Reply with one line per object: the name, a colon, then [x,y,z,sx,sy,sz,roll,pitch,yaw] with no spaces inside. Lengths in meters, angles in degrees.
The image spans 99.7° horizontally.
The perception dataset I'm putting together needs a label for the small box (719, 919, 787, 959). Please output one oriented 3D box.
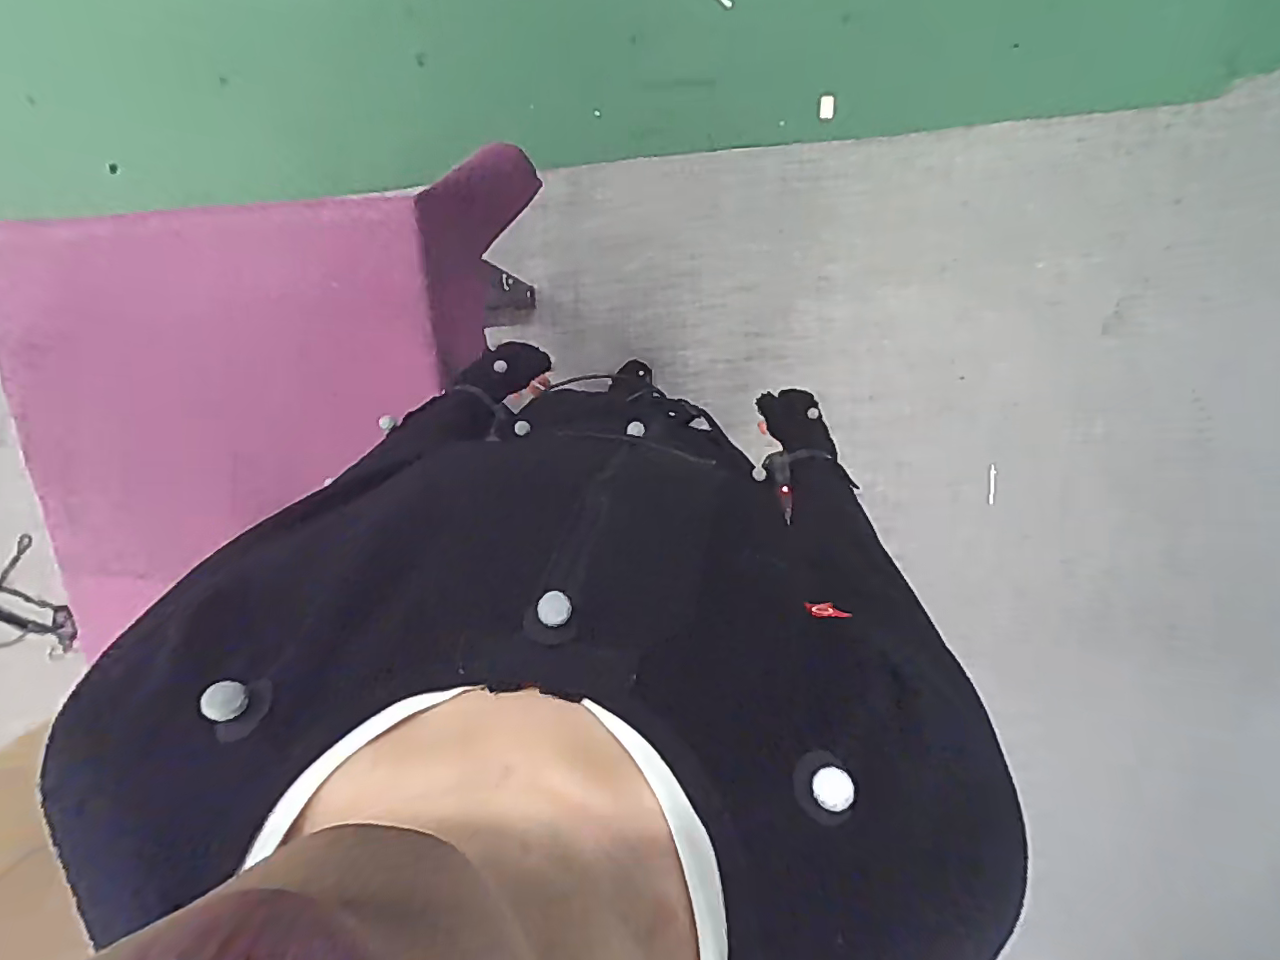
small box: [0.316,1.347,1.480,0.179,0.176,0.168,-5,101,4]
